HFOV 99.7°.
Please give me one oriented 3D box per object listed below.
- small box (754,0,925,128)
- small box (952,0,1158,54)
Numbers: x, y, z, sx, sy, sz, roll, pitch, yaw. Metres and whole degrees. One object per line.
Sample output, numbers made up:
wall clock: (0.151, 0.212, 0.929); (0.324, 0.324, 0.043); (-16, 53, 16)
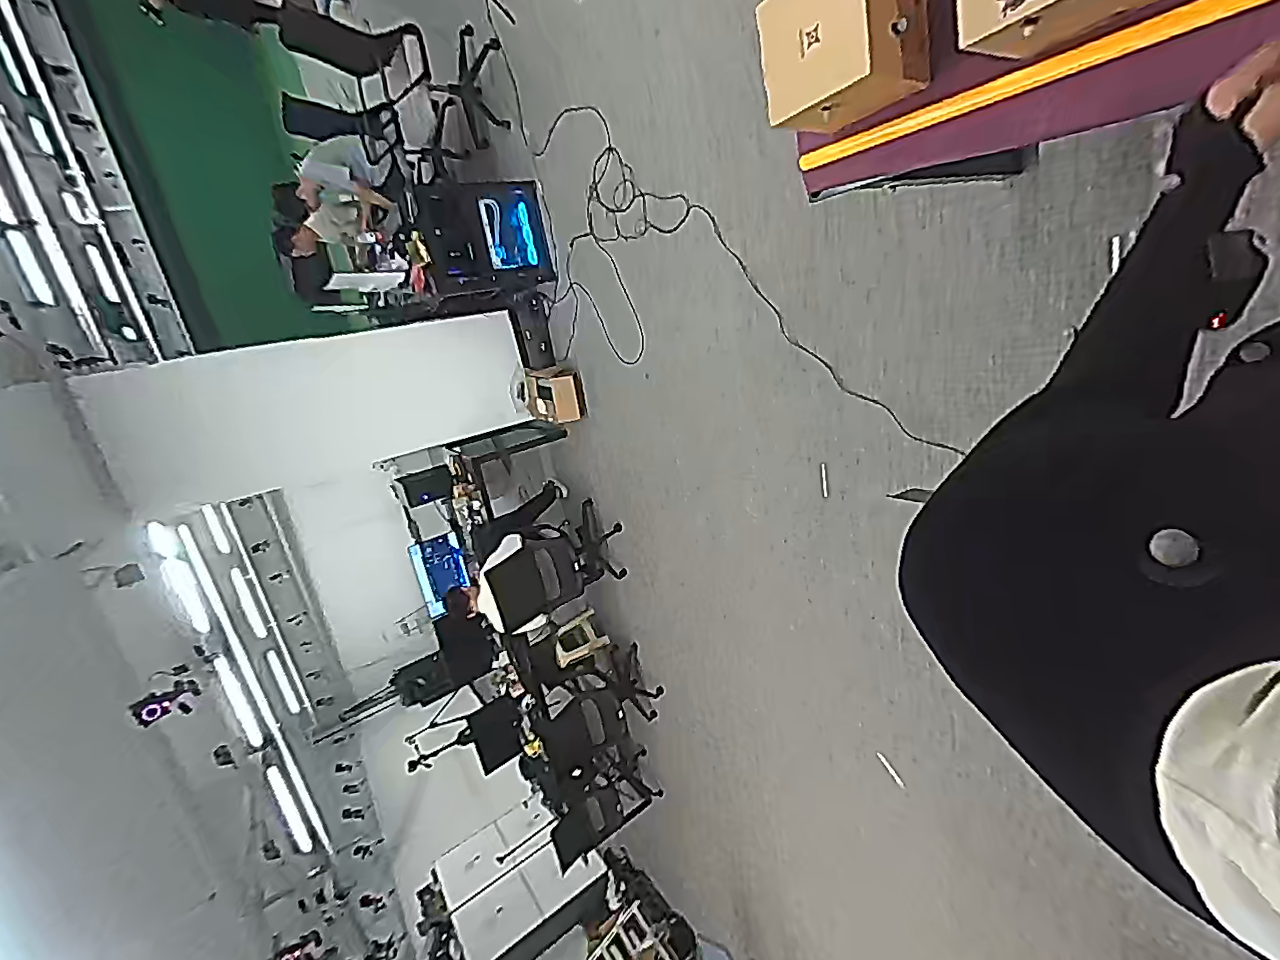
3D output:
small box: (0.299, -0.646, 0.799); (0.179, 0.176, 0.168); (11, 117, 55)
small box: (0.458, -0.594, 0.573); (0.168, 0.176, 0.179); (15, 120, 56)
